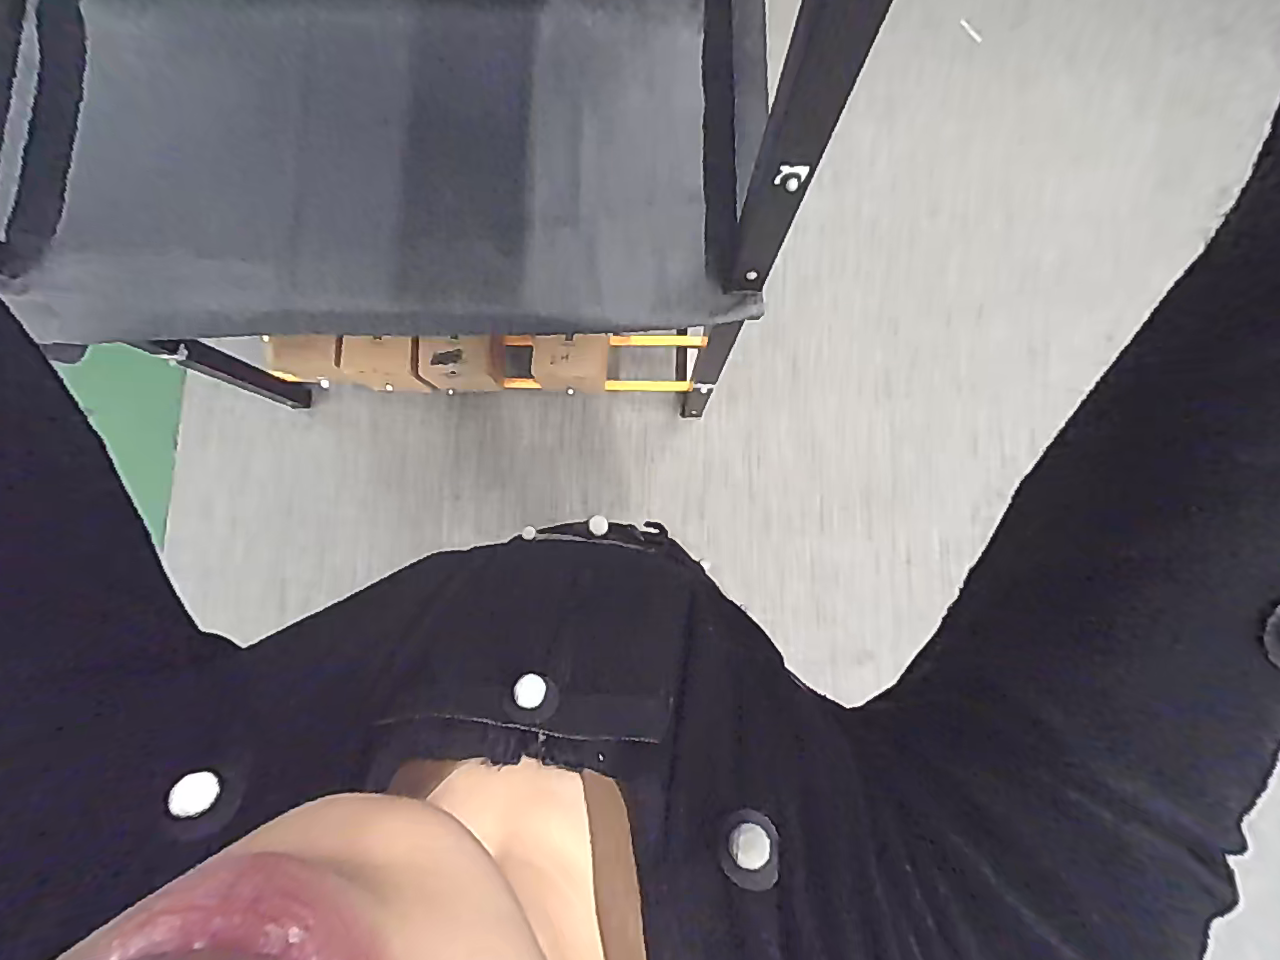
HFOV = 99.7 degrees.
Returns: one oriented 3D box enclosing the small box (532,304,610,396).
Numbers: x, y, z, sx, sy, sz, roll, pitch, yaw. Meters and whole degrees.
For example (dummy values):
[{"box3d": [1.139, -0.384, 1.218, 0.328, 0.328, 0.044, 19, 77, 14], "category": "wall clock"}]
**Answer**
[{"box3d": [-0.169, -0.328, 1.383, 0.168, 0.176, 0.179, 6, 85, 2], "category": "small box"}]
